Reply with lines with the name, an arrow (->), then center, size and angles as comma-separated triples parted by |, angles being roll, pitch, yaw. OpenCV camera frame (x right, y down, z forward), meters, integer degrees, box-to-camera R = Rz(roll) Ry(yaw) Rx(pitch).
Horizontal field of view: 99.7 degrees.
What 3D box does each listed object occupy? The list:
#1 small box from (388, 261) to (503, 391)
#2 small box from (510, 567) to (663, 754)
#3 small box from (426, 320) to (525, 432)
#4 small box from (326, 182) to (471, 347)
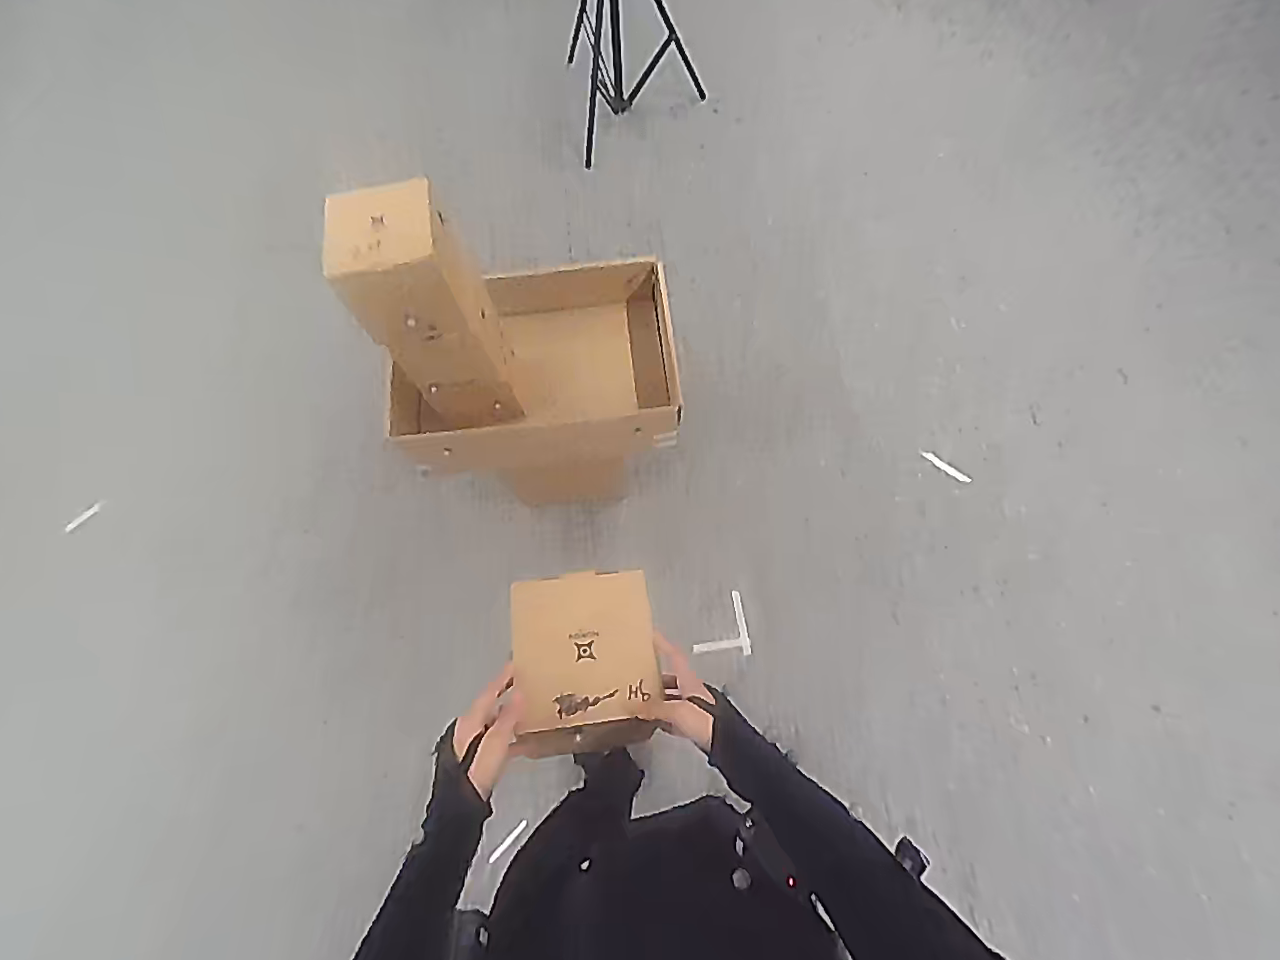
small box -> -0.371, -0.288, 1.052 | 0.168, 0.176, 0.179 | -10, 68, -1
small box -> -0.073, 0.229, 0.684 | 0.168, 0.176, 0.179 | -3, 55, -9
small box -> -0.360, -0.226, 1.203 | 0.179, 0.176, 0.168 | -11, 69, -1
small box -> -0.392, -0.352, 0.901 | 0.168, 0.176, 0.179 | -11, 68, -2
